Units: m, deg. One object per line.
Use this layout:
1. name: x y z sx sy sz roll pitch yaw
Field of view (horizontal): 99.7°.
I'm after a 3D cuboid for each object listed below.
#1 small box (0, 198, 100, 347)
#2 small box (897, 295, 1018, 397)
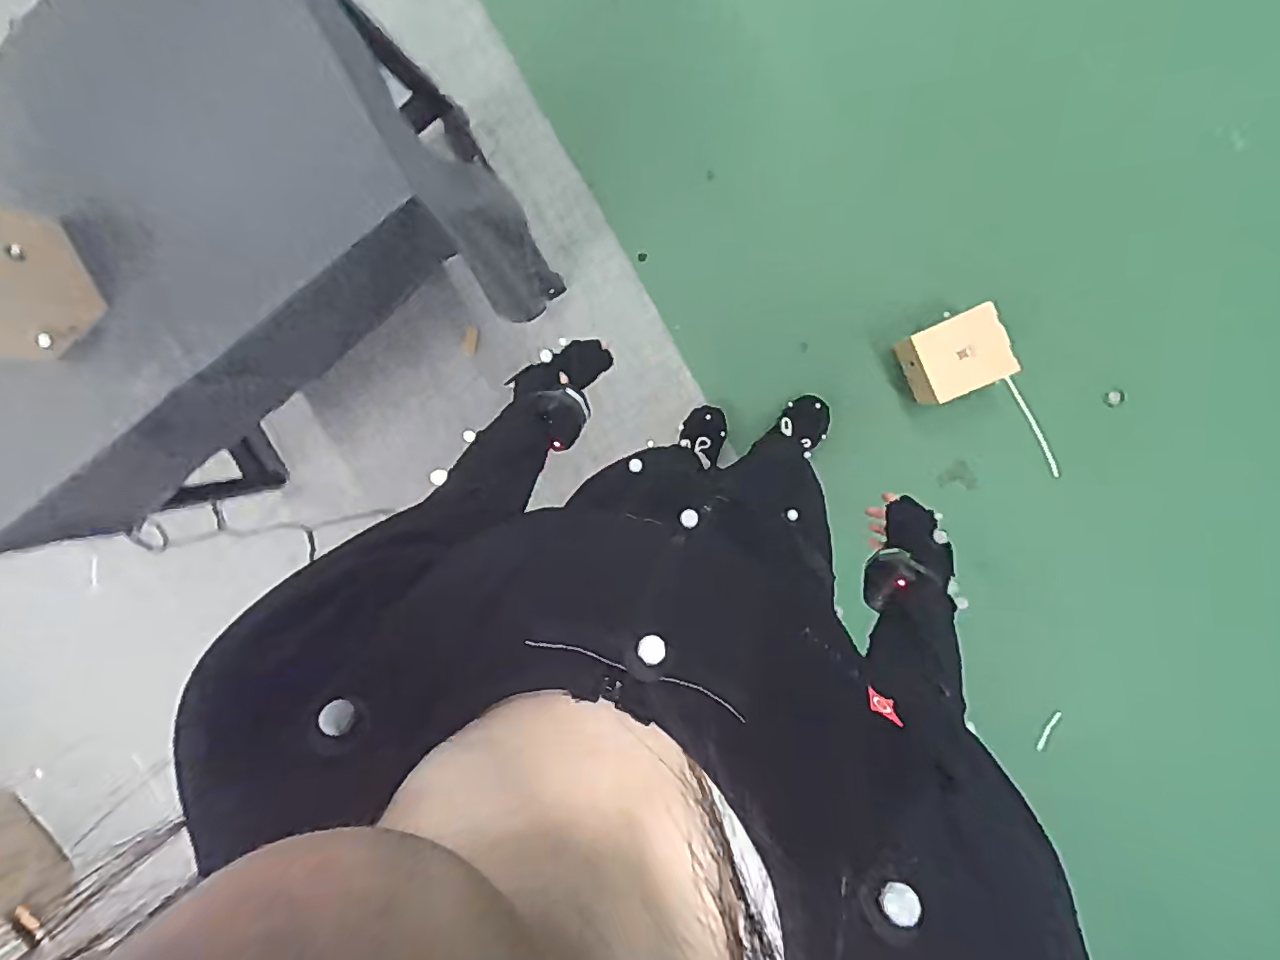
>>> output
1. small box: -1.008 -0.323 0.828 0.168 0.176 0.179 -29 93 14
2. small box: 0.717 -0.297 1.248 0.179 0.176 0.168 -24 93 13
